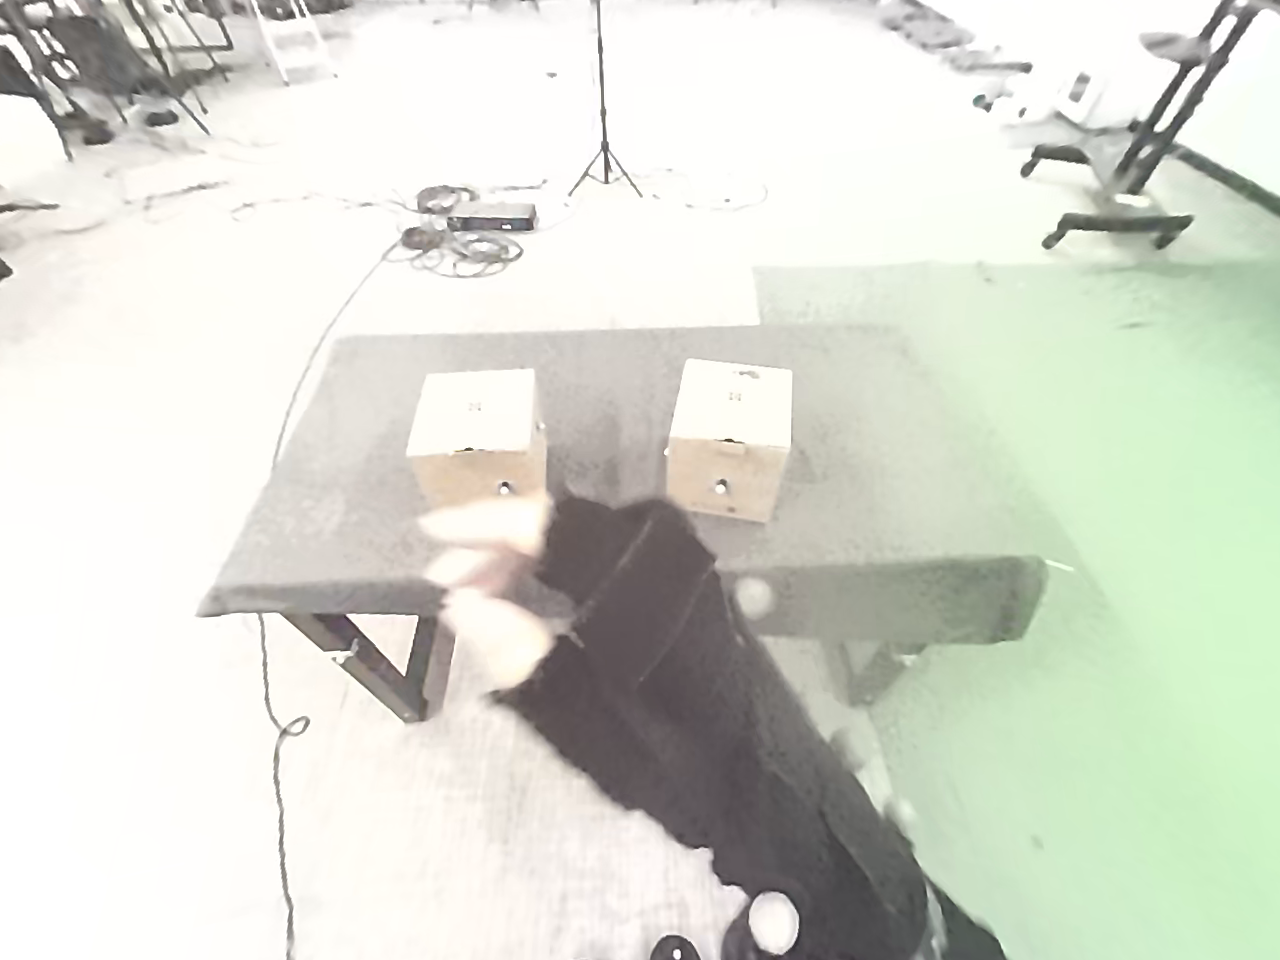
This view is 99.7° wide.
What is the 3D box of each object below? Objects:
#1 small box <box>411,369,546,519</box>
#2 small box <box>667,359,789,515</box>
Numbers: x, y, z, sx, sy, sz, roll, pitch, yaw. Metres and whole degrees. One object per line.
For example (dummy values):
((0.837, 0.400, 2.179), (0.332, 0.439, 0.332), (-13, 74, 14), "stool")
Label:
((-0.238, -0.051, 0.849), (0.168, 0.176, 0.179), (-4, 47, -5), "small box")
((0.136, -0.065, 0.858), (0.168, 0.176, 0.179), (8, 51, 7), "small box")
